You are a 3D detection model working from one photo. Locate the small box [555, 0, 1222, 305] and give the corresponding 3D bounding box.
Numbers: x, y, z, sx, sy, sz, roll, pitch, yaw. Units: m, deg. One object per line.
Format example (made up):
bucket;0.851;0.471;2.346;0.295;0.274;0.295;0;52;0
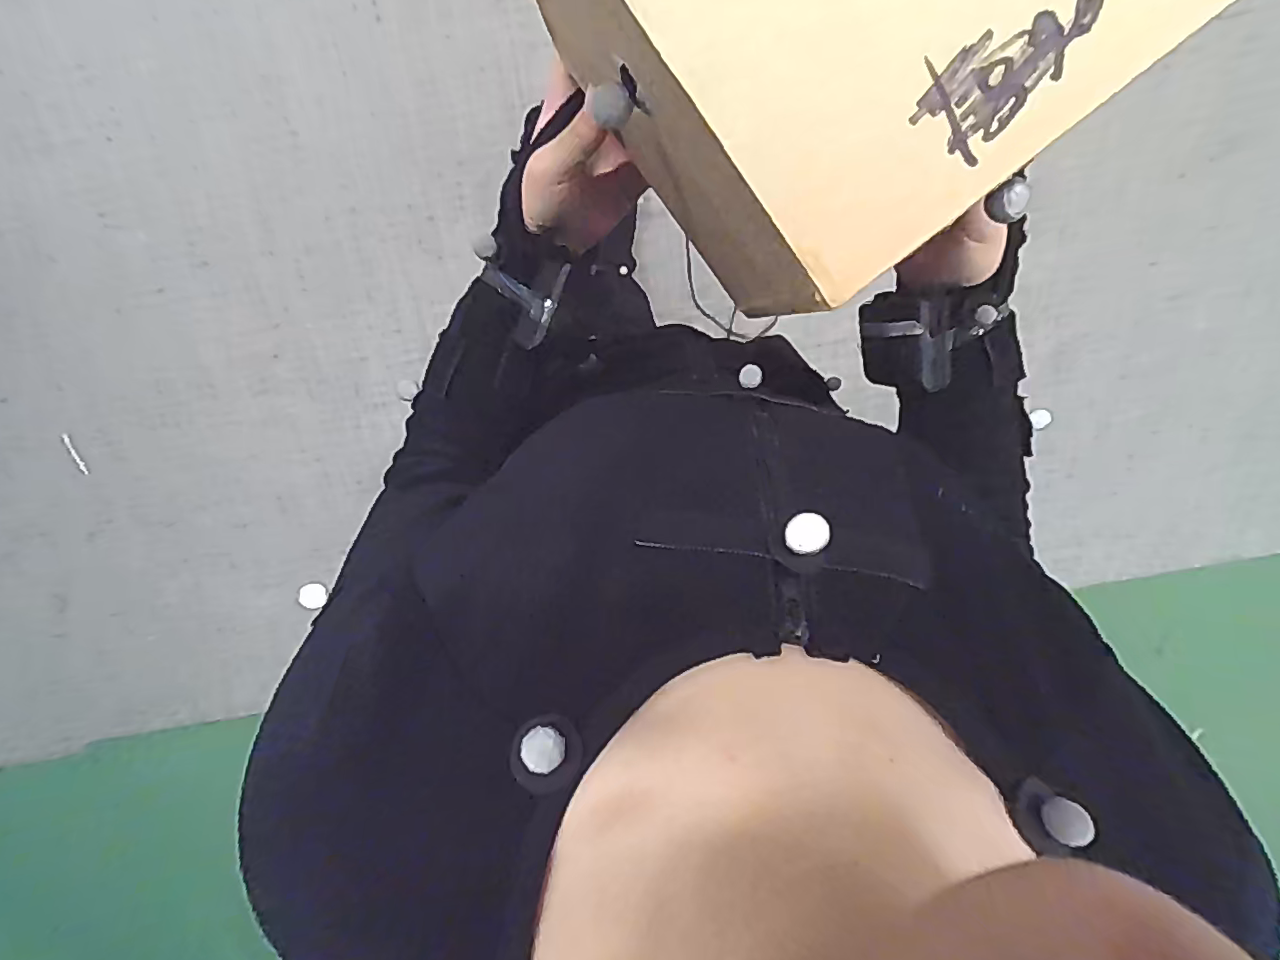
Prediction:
small box;0.072;-0.188;0.211;0.168;0.176;0.179;-38;100;12
